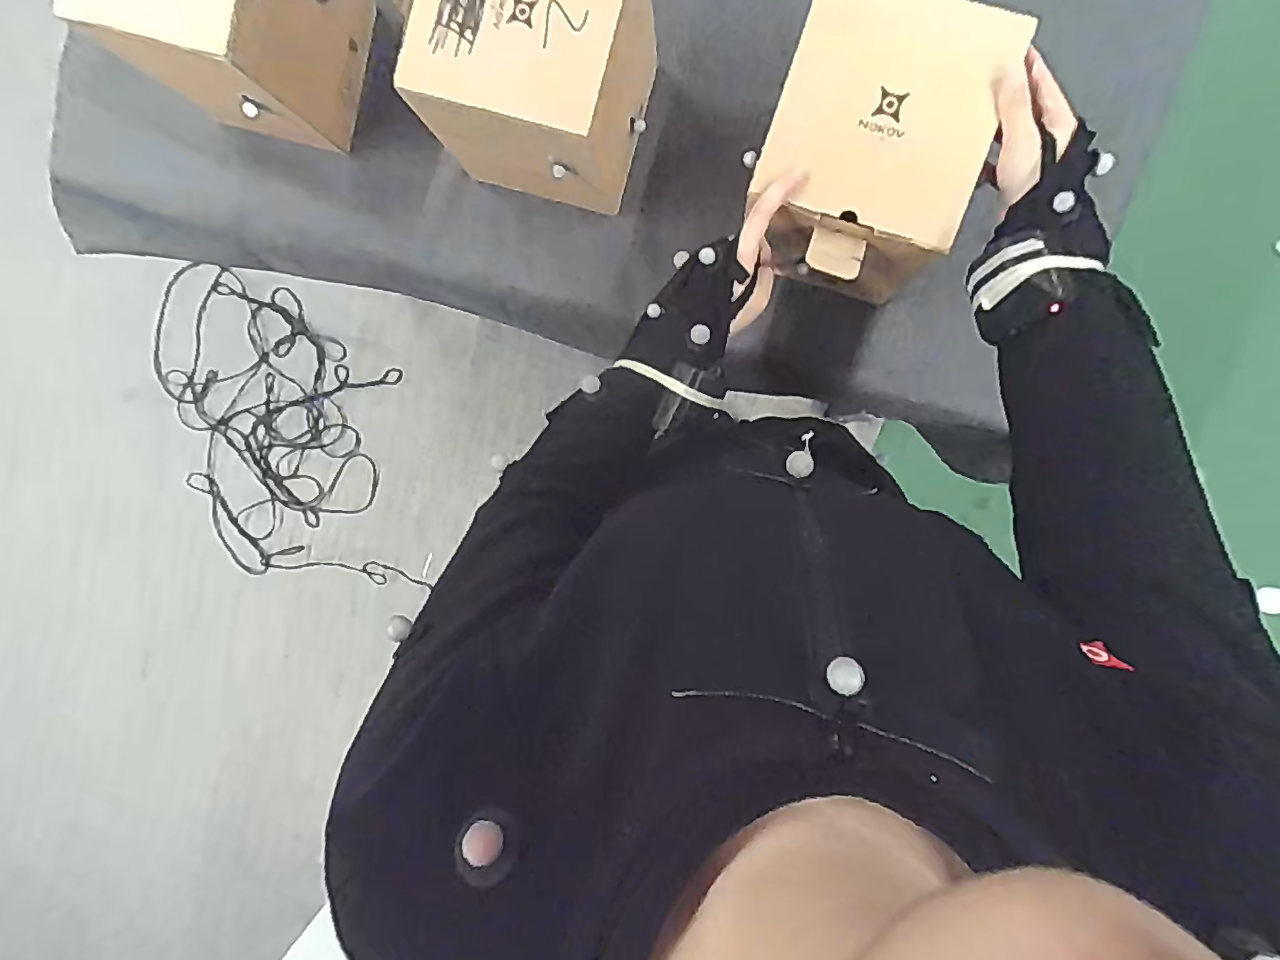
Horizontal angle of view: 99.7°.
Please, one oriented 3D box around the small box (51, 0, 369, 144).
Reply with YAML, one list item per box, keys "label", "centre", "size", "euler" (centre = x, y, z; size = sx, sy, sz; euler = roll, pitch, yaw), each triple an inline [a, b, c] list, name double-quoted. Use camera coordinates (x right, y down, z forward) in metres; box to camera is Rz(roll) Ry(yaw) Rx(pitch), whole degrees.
- label: "small box"
  centre: [-0.407, -0.472, 0.540]
  size: [0.179, 0.176, 0.168]
  euler: [16, 96, 5]
